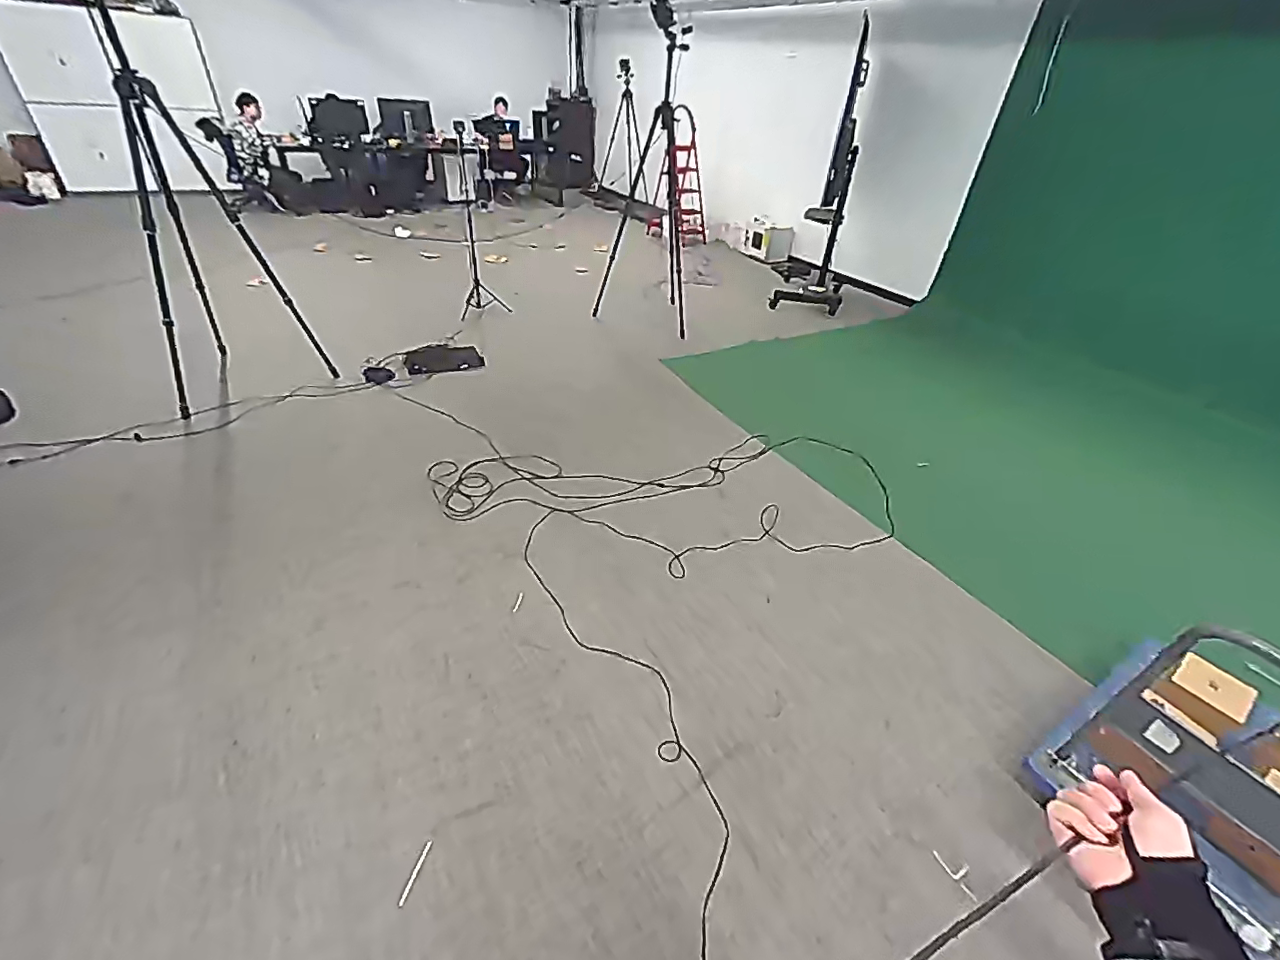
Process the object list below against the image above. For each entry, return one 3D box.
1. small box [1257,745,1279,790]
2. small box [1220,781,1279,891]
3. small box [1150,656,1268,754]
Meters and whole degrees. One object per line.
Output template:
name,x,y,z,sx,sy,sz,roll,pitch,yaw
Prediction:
small box,1.806,0.788,1.426,0.179,0.176,0.168,-22,42,-29
small box,1.576,0.864,1.304,0.179,0.176,0.168,-18,41,-25
small box,1.658,0.662,1.586,0.179,0.176,0.168,-21,43,-29
